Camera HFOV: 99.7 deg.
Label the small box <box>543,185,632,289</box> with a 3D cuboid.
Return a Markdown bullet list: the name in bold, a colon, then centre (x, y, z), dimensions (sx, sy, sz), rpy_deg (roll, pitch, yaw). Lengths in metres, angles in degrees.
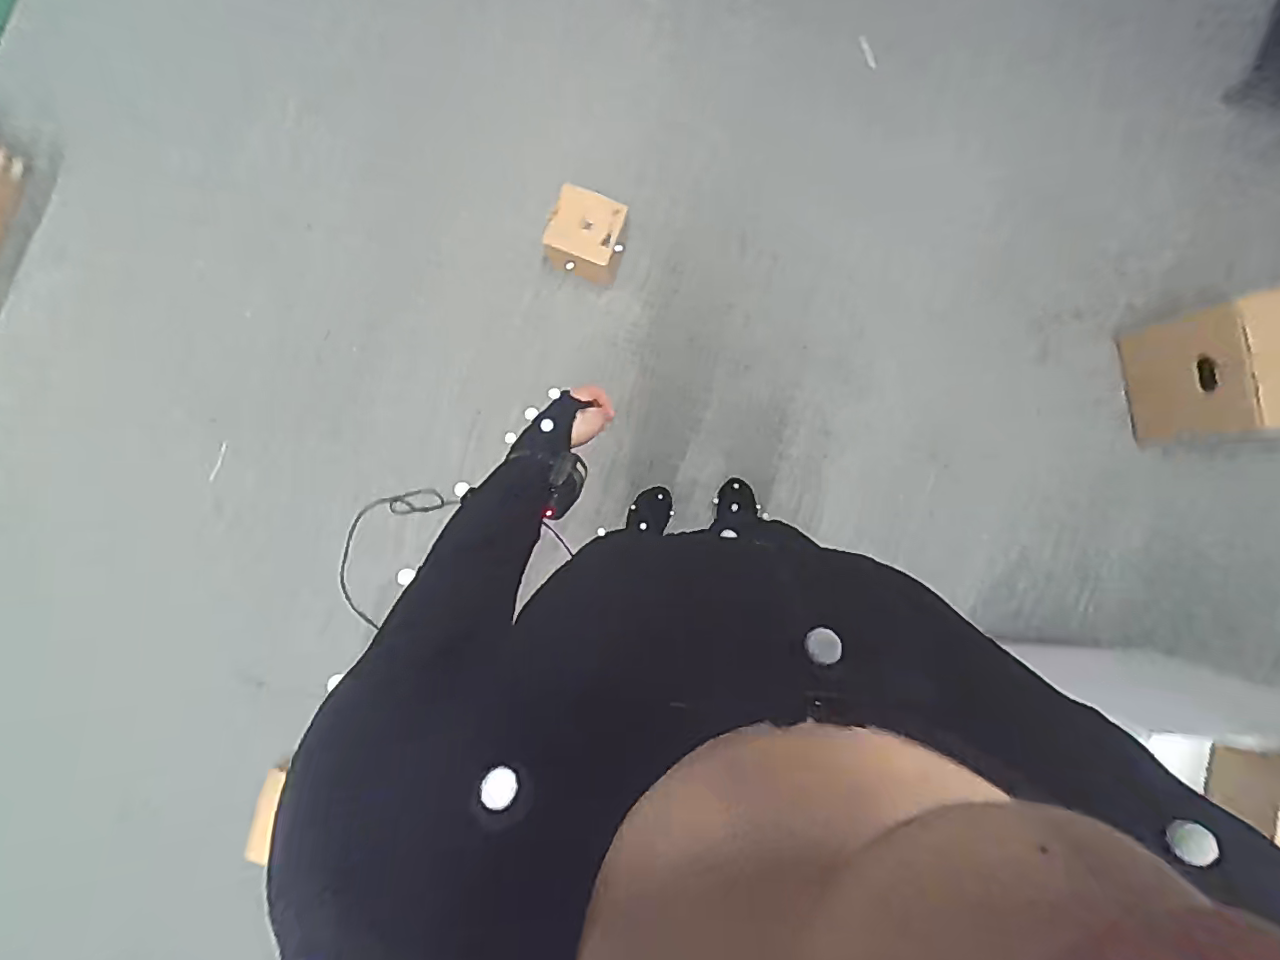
- **small box**: centre (-0.132, -0.631, 1.426), dimensions (0.179, 0.176, 0.168), rpy_deg (22, 89, 1)
